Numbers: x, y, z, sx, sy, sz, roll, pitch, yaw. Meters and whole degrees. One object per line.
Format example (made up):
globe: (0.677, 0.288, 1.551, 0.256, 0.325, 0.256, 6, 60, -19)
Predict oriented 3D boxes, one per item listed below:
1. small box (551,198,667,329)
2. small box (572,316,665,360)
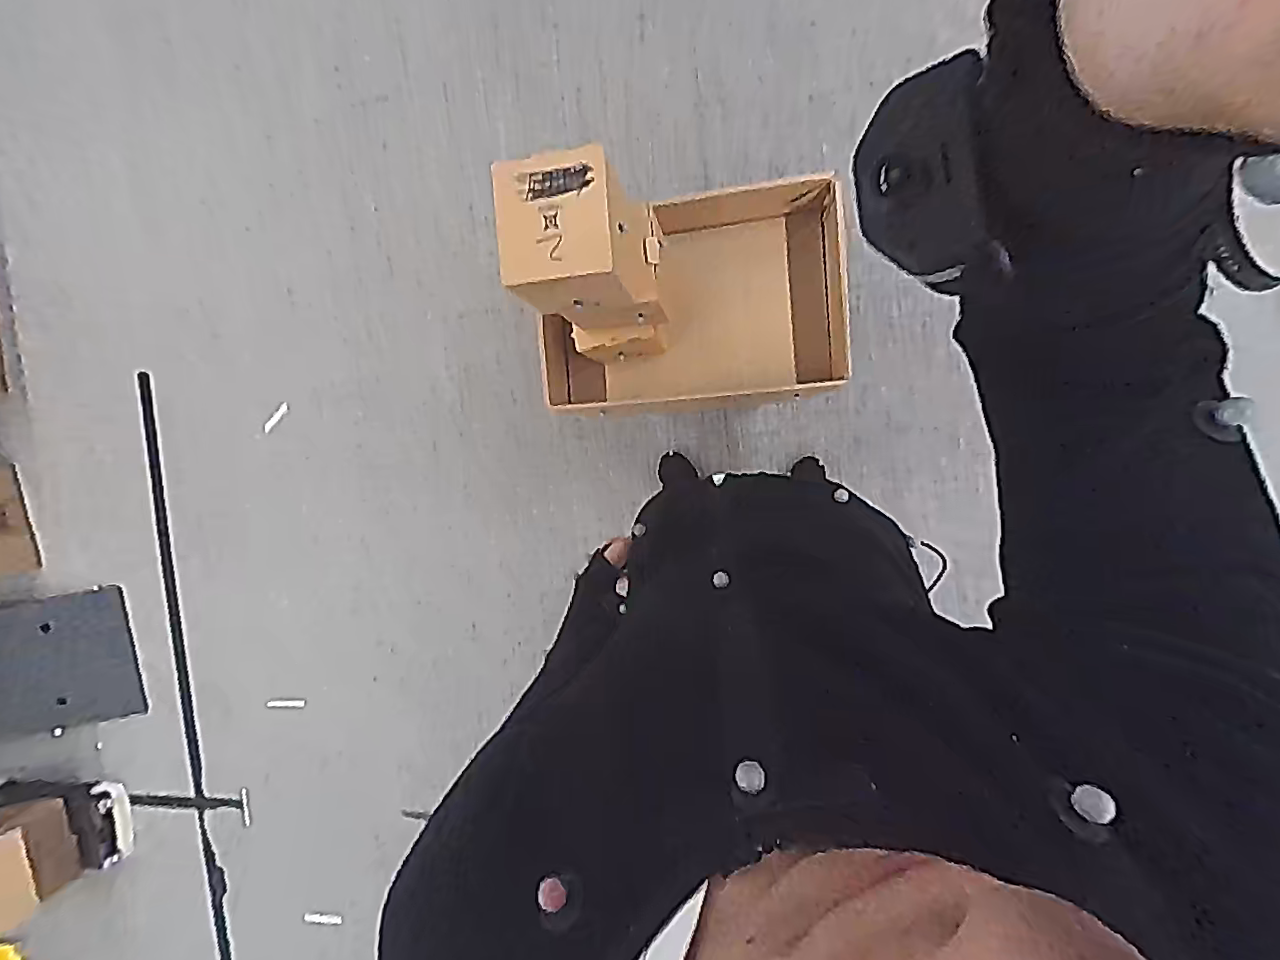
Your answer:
small box: (-0.047, -0.379, 0.976, 0.179, 0.176, 0.168, -4, 92, 10)
small box: (-0.047, -0.365, 1.143, 0.168, 0.176, 0.179, -9, 92, 11)
